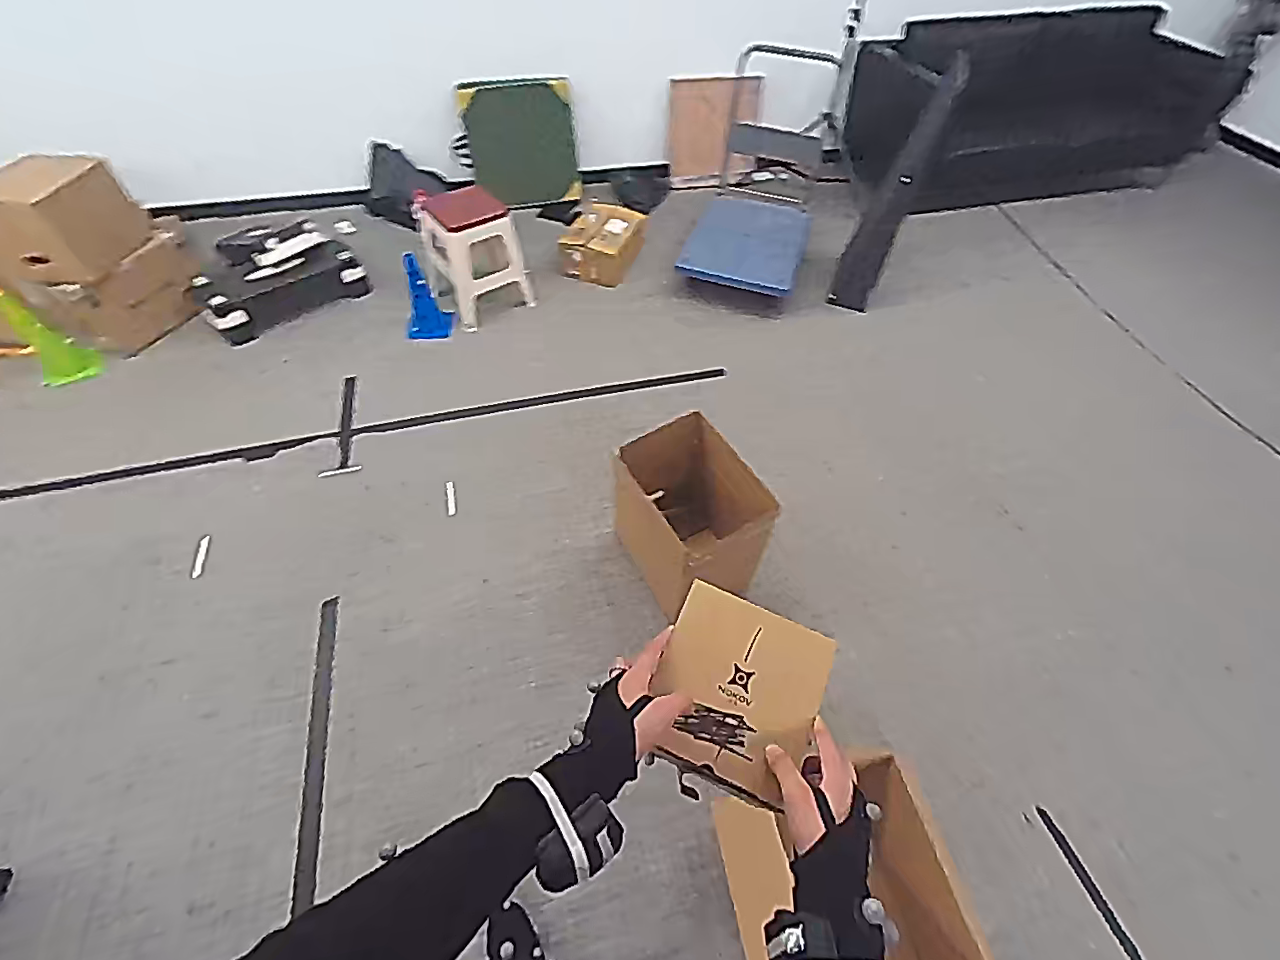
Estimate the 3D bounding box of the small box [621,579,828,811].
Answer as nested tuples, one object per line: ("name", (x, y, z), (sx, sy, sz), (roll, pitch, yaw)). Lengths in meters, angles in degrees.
("small box", (0.090, 0.246, 0.620), (0.168, 0.176, 0.179), (23, 63, 10))
